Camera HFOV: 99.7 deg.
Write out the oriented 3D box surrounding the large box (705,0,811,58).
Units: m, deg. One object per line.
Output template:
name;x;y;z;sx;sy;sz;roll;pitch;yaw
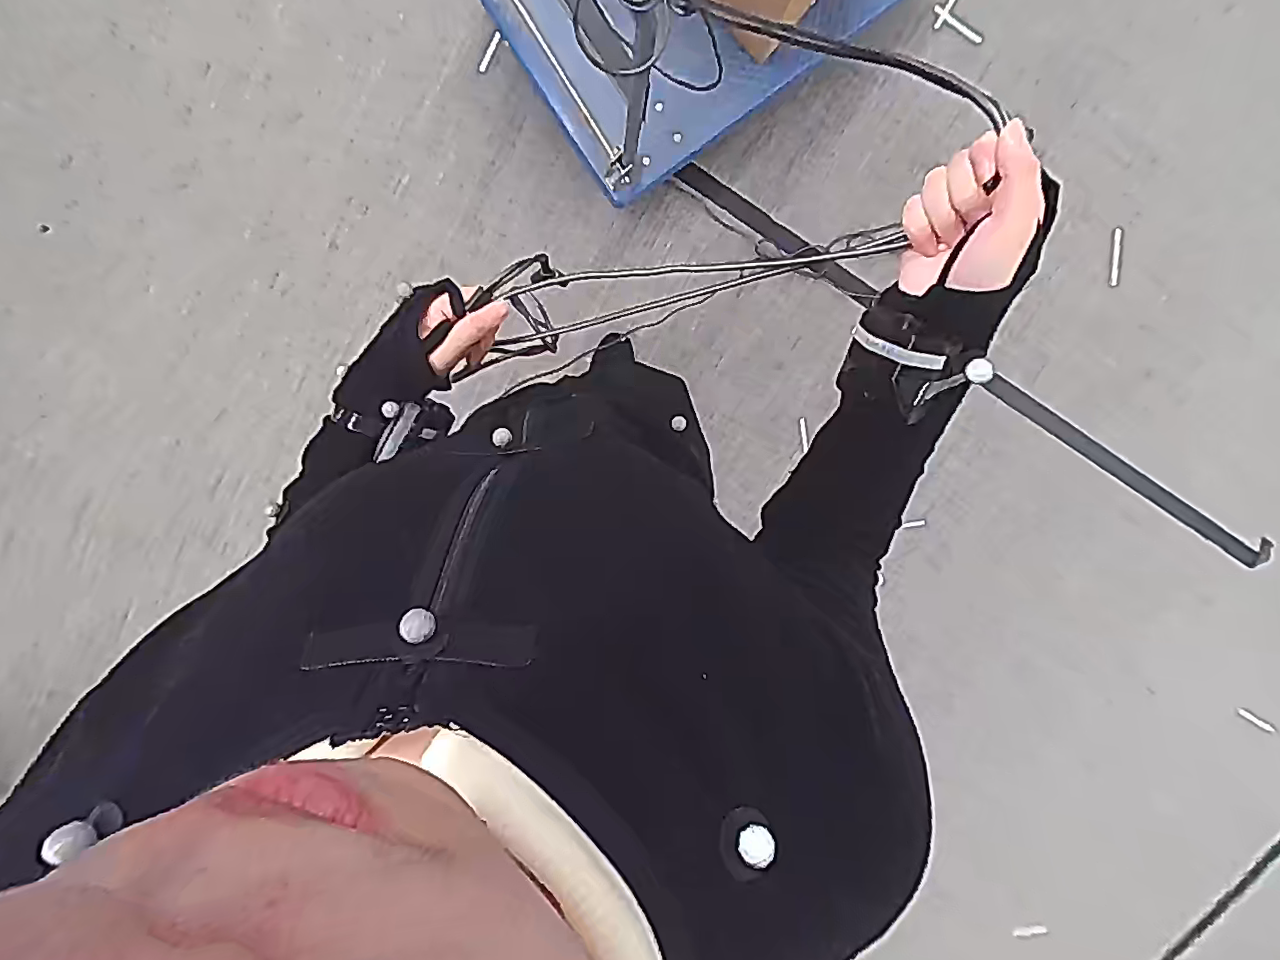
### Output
large box;0.205;-1.063;0.911;0.408;0.320;0.320;40;100;-11
